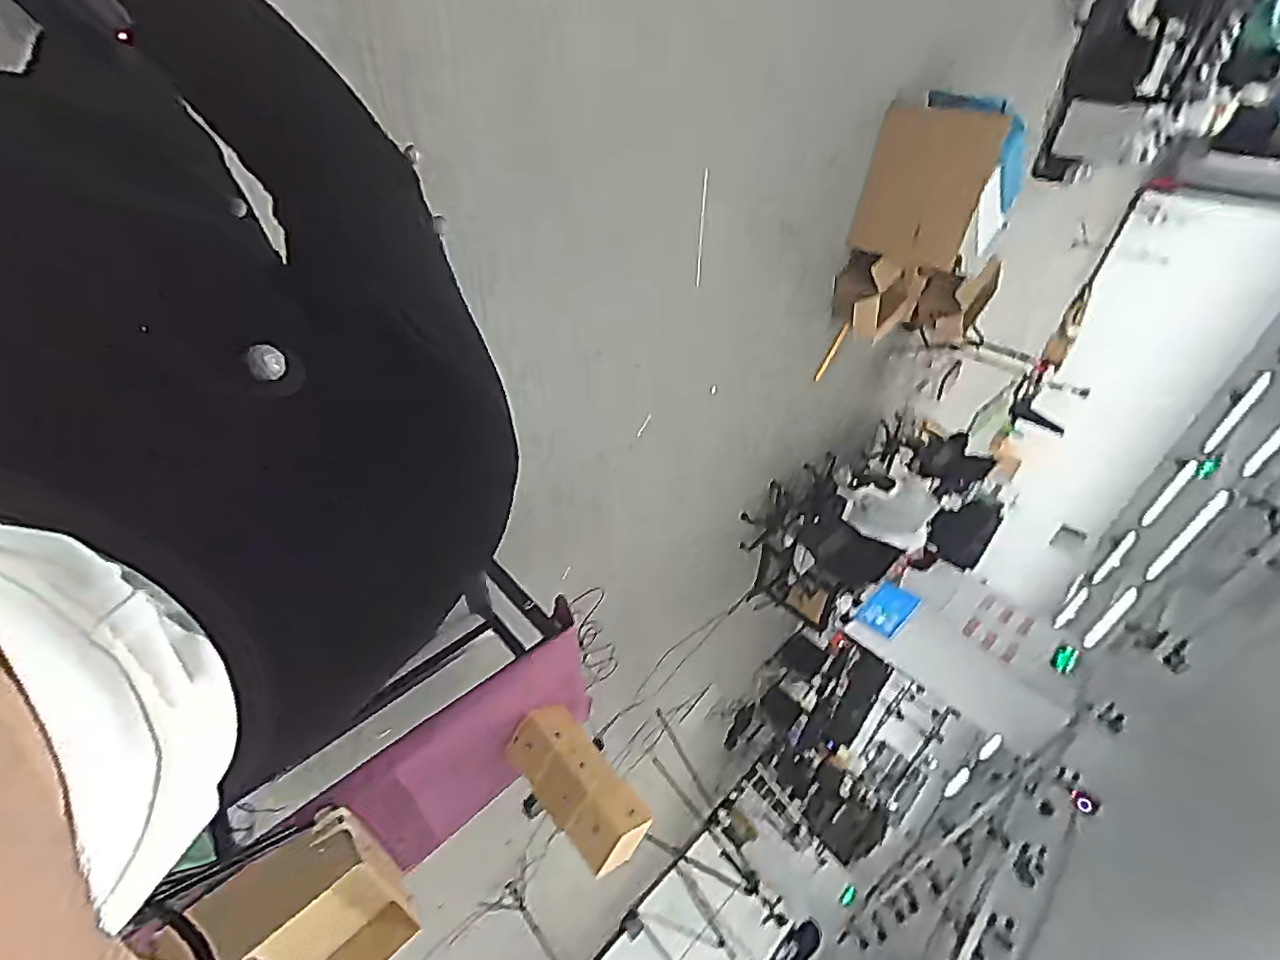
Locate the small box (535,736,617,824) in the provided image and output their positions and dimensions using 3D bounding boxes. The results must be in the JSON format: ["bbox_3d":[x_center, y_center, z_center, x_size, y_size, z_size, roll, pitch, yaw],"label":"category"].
[{"bbox_3d":[-0.213,0.961,1.759,0.168,0.176,0.179,19,103,-54],"label":"small box"}]

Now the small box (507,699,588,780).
[{"bbox_3d":[-0.320,0.878,1.849,0.179,0.176,0.168,19,104,-55],"label":"small box"}]

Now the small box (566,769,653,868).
[{"bbox_3d":[-0.099,1.037,1.673,0.179,0.176,0.168,16,105,-54],"label":"small box"}]
